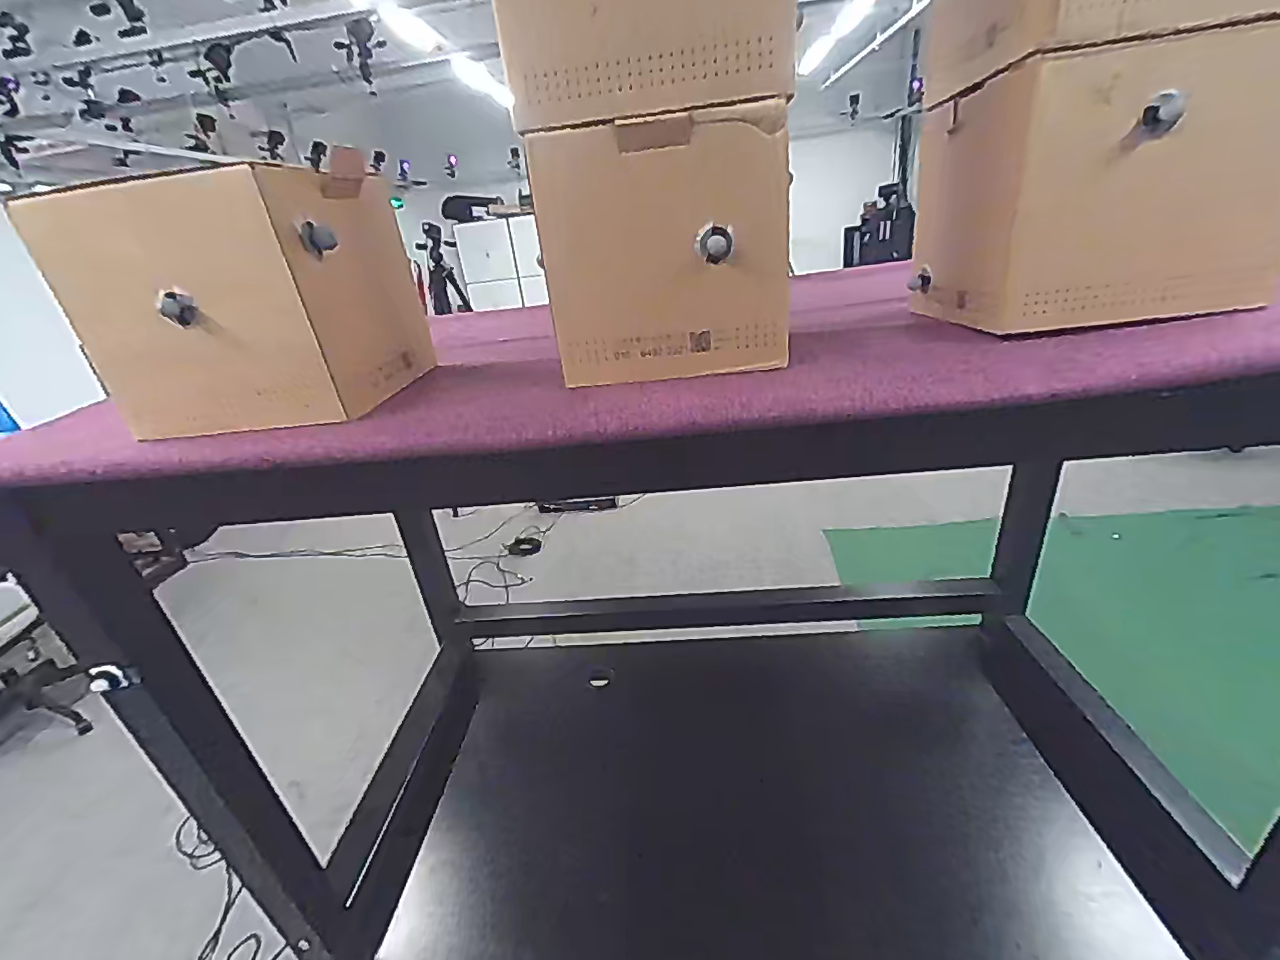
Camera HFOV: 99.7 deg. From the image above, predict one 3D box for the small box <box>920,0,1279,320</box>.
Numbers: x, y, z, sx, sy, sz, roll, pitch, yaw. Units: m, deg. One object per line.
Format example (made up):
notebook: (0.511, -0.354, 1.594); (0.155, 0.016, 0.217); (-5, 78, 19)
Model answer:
small box: (0.330, -0.221, 0.407); (0.179, 0.176, 0.168); (-5, 23, 5)

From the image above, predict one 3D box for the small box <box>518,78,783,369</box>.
small box: (0.020, -0.188, 0.430); (0.168, 0.176, 0.179); (-3, 25, 7)

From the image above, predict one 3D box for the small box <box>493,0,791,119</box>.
small box: (0.002, -0.336, 0.360); (0.179, 0.176, 0.168); (-3, 27, 7)

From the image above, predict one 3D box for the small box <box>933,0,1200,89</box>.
small box: (0.309, -0.371, 0.348); (0.179, 0.176, 0.168); (-5, 23, 6)
